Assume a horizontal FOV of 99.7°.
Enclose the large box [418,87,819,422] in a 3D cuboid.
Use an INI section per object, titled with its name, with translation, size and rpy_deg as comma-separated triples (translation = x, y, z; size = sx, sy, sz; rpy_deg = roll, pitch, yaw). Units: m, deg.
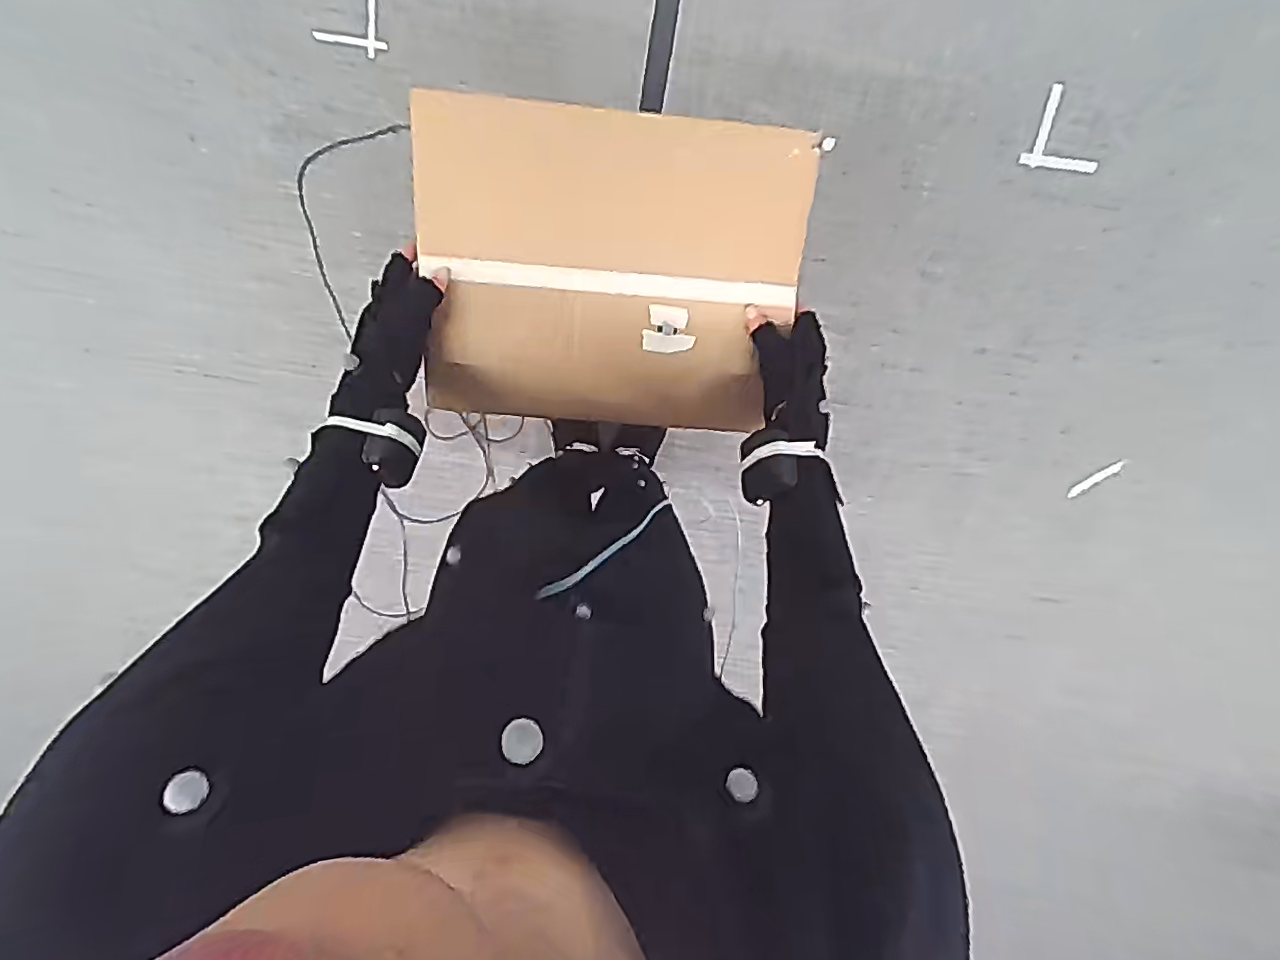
[large box]
translation = -0.035, -0.272, 0.719
size = 0.408, 0.320, 0.320
rpy_deg = 4, 110, -4
